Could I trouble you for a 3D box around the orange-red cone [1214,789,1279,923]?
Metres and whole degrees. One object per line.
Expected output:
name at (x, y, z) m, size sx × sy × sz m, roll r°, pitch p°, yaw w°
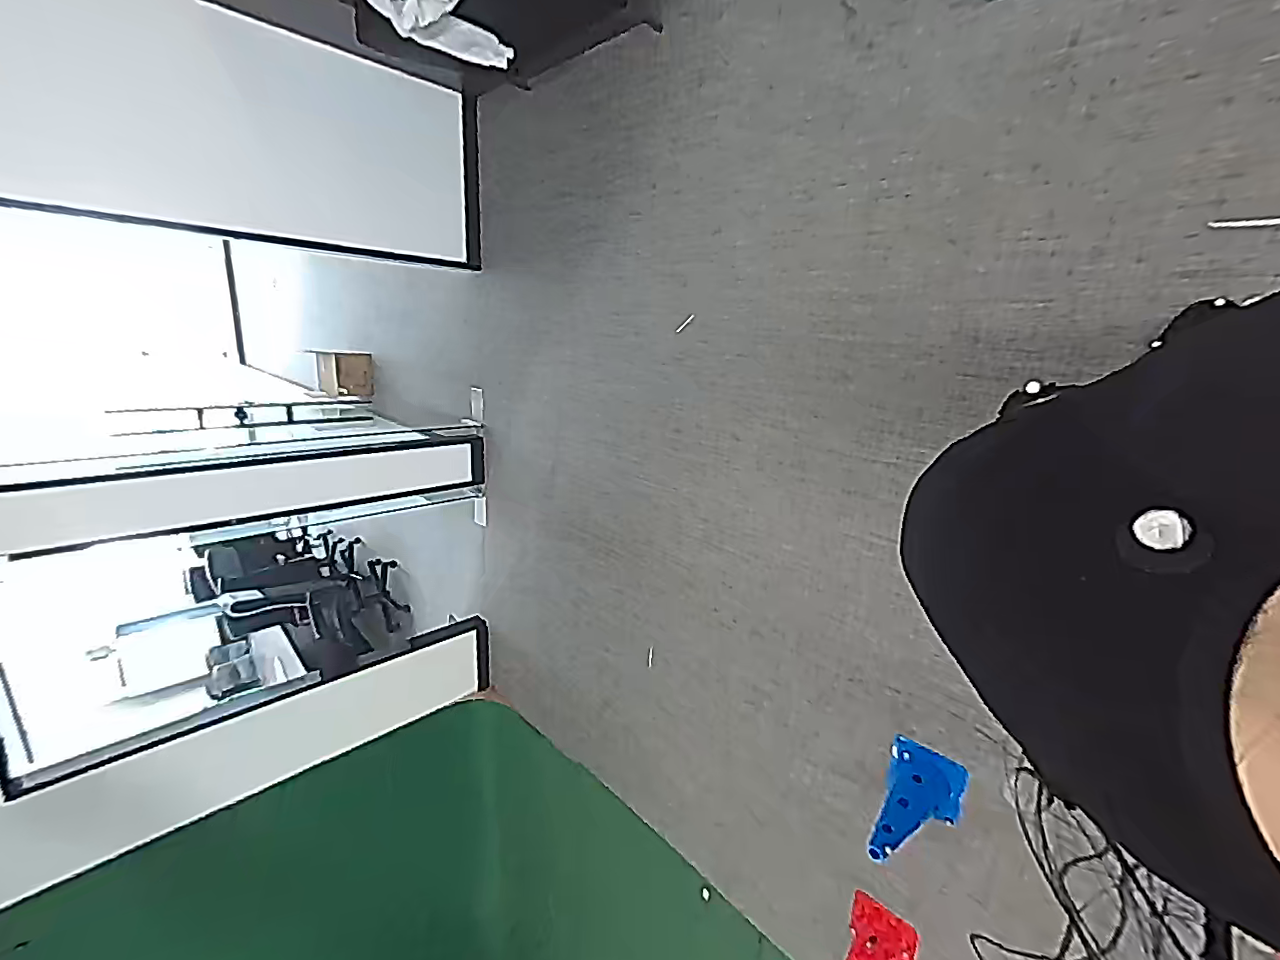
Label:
orange-red cone at (1.167, 0.760, 0.942) m, size 0.198 × 0.360 × 0.199 m, roll 25°, pitch 117°, yaw 42°
